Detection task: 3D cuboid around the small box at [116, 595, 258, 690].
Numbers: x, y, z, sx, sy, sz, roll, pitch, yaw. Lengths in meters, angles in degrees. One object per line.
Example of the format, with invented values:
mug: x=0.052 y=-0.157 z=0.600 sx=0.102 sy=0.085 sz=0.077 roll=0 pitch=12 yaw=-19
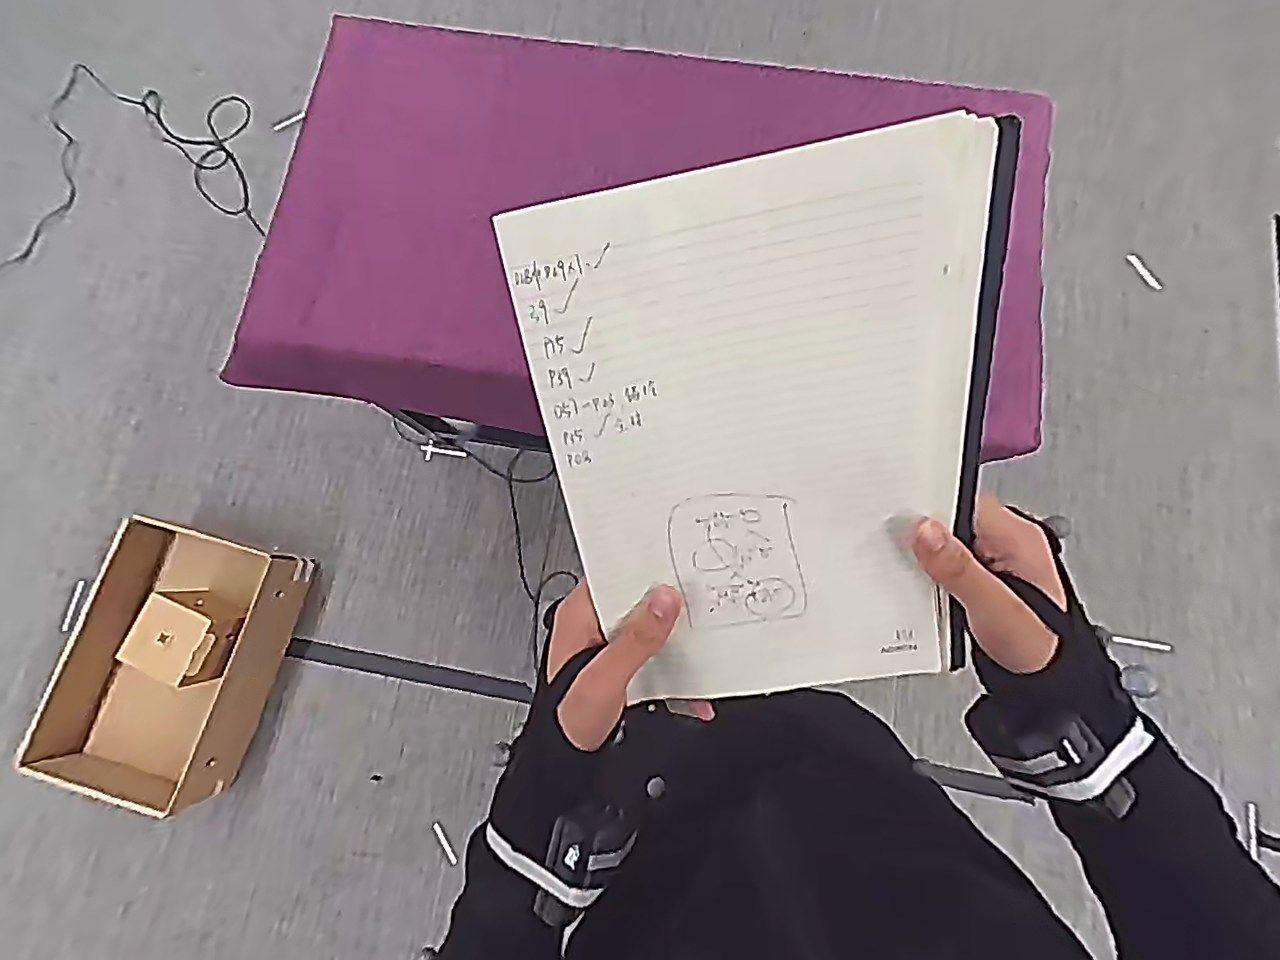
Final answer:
small box: x=-1.102 y=0.388 z=1.334 sx=0.179 sy=0.176 sz=0.168 roll=23 pitch=81 yaw=5
